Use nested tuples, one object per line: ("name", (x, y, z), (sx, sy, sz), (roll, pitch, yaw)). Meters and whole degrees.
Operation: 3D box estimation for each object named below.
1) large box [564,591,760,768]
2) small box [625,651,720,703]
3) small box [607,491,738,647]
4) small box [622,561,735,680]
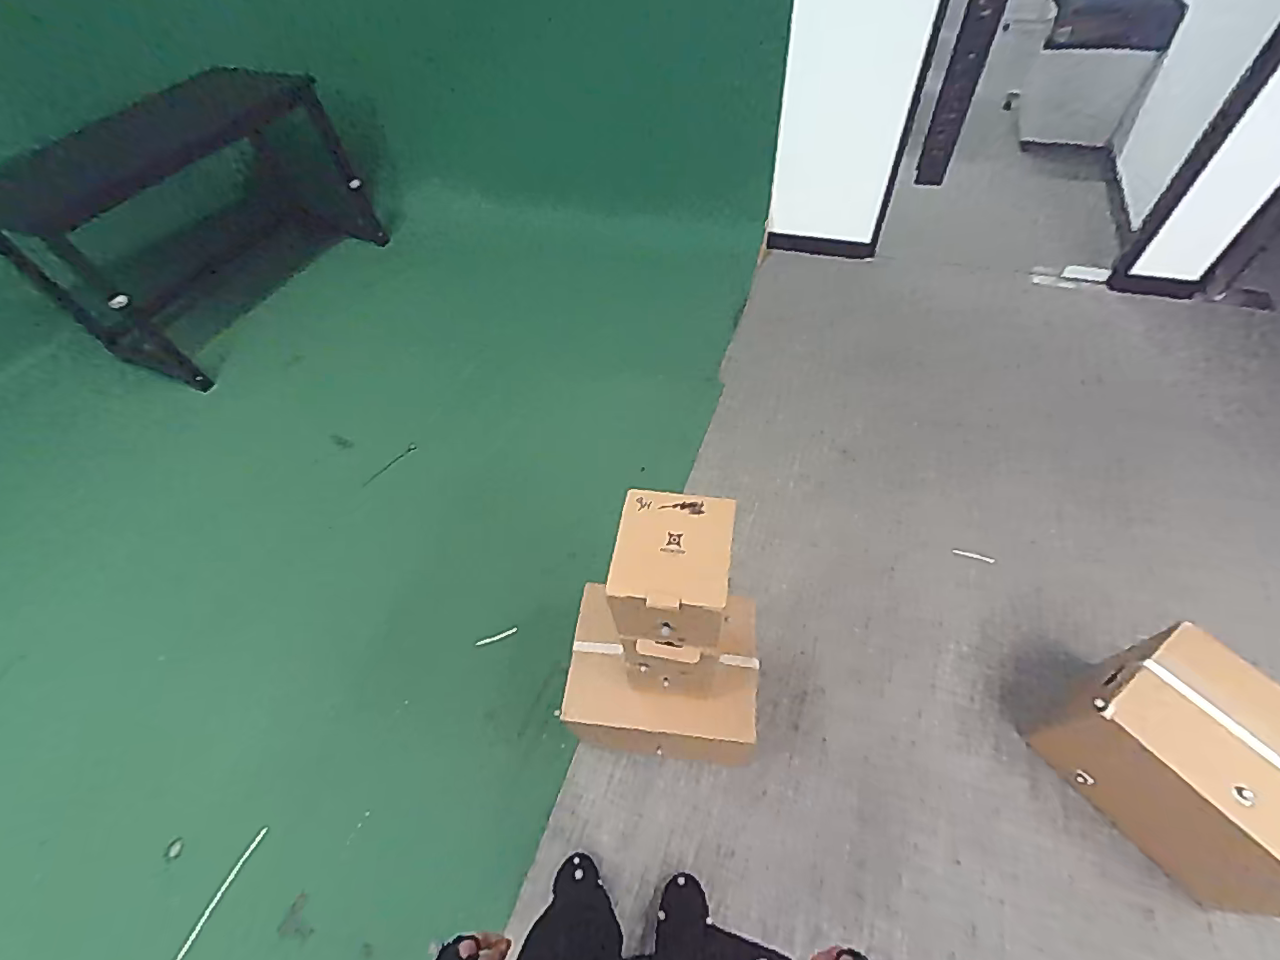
("large box", (0.071, 0.480, 1.292), (0.408, 0.320, 0.320), (2, 53, 9))
("small box", (0.078, 0.337, 1.091), (0.179, 0.176, 0.168), (6, 56, 10))
("small box", (0.057, 0.141, 0.829), (0.168, 0.176, 0.179), (6, 57, 10))
("small box", (0.074, 0.239, 0.960), (0.168, 0.176, 0.179), (7, 56, 11))
